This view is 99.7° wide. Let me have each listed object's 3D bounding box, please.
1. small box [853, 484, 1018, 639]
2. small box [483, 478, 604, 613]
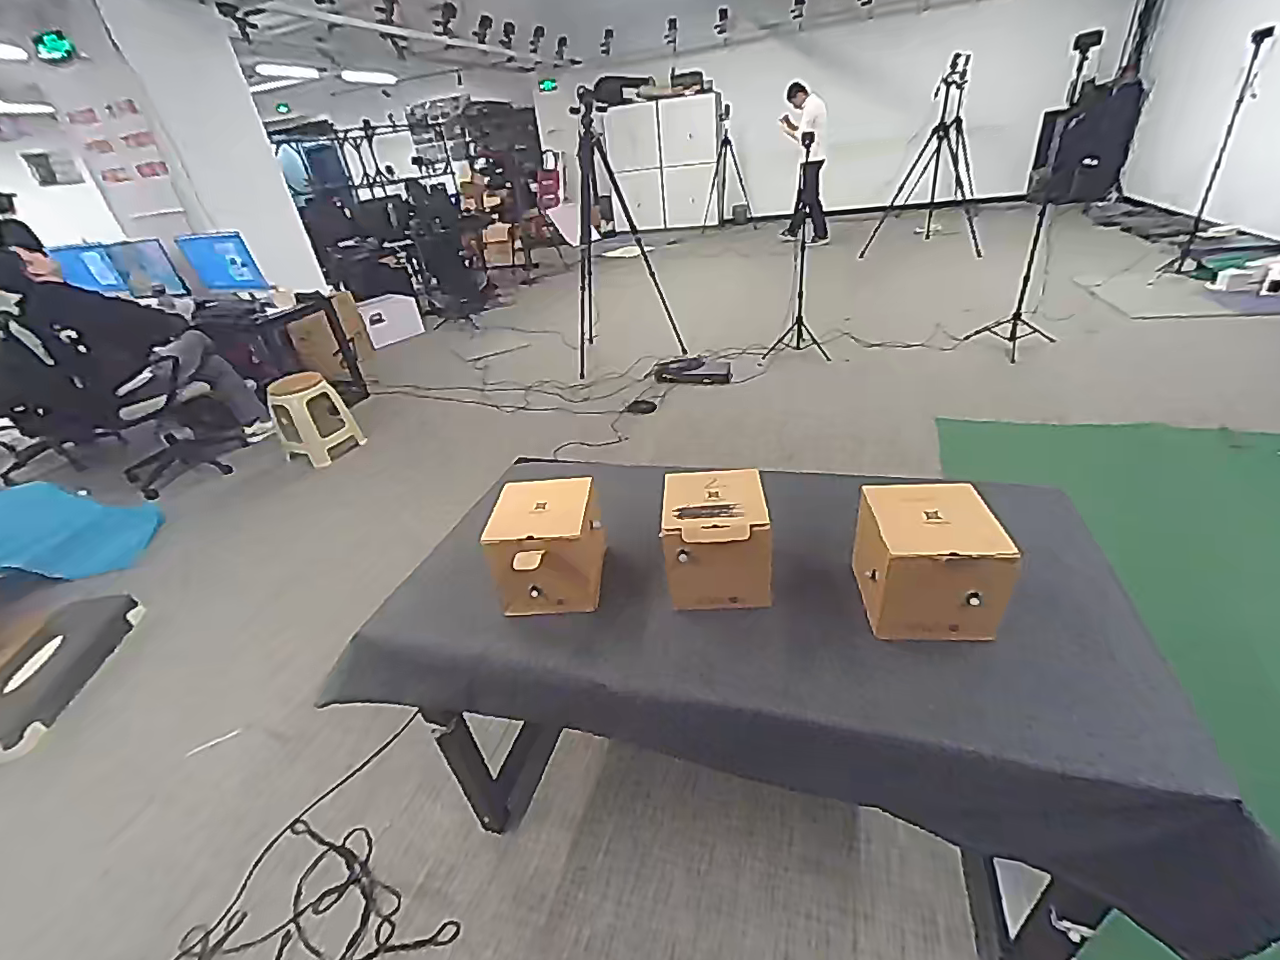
[{"bbox_3d":[0.434,0.124,0.828,0.168,0.176,0.179,-1,31,8],"label":"small box"},{"bbox_3d":[-0.159,0.115,0.965,0.168,0.176,0.179,-4,32,5],"label":"small box"}]
